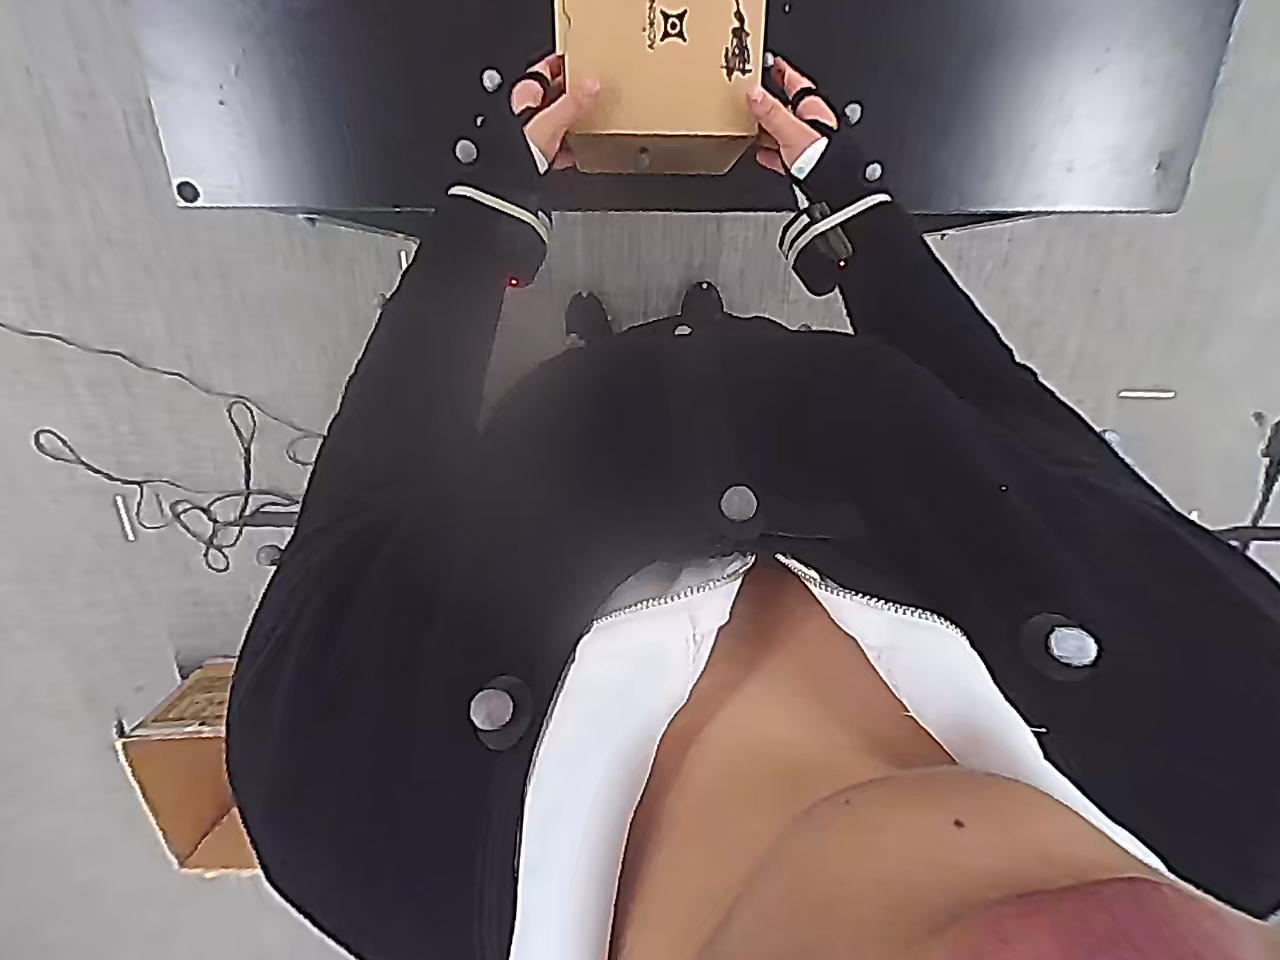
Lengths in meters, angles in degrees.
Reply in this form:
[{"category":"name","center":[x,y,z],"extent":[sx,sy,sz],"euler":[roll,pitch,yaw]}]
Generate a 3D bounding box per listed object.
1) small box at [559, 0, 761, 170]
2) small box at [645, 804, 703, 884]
[{"category":"small box","center":[0.016,-0.420,0.541],"extent":[0.179,0.176,0.168],"euler":[0,109,-1]},{"category":"small box","center":[0.114,1.249,1.862],"extent":[0.179,0.176,0.168],"euler":[4,107,-2]}]
